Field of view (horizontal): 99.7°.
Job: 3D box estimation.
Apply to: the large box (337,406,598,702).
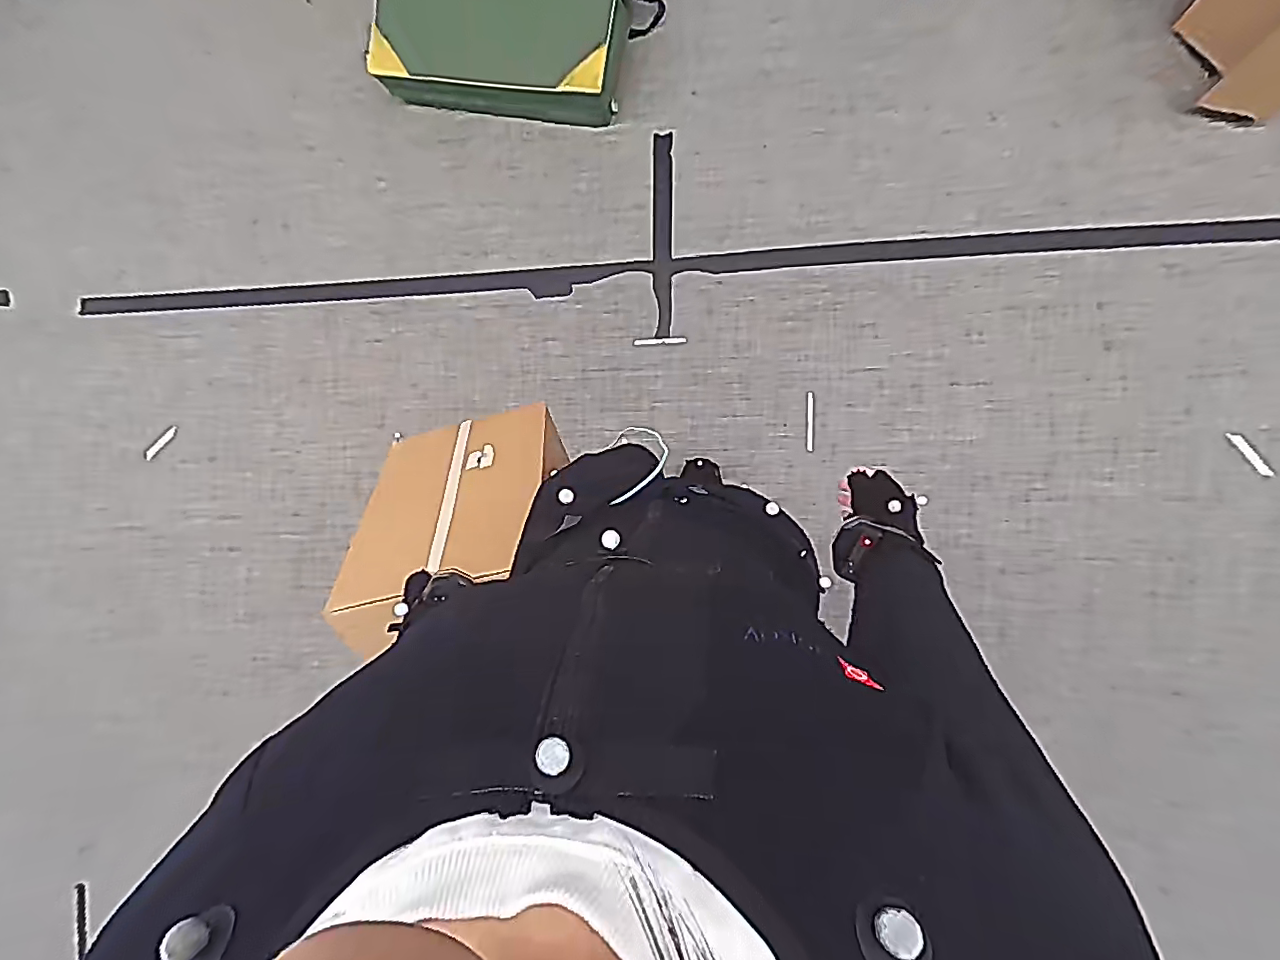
[{"bbox_3d":[-0.273,0.129,1.002,0.320,0.408,0.320,-13,131,5],"label":"large box"}]
